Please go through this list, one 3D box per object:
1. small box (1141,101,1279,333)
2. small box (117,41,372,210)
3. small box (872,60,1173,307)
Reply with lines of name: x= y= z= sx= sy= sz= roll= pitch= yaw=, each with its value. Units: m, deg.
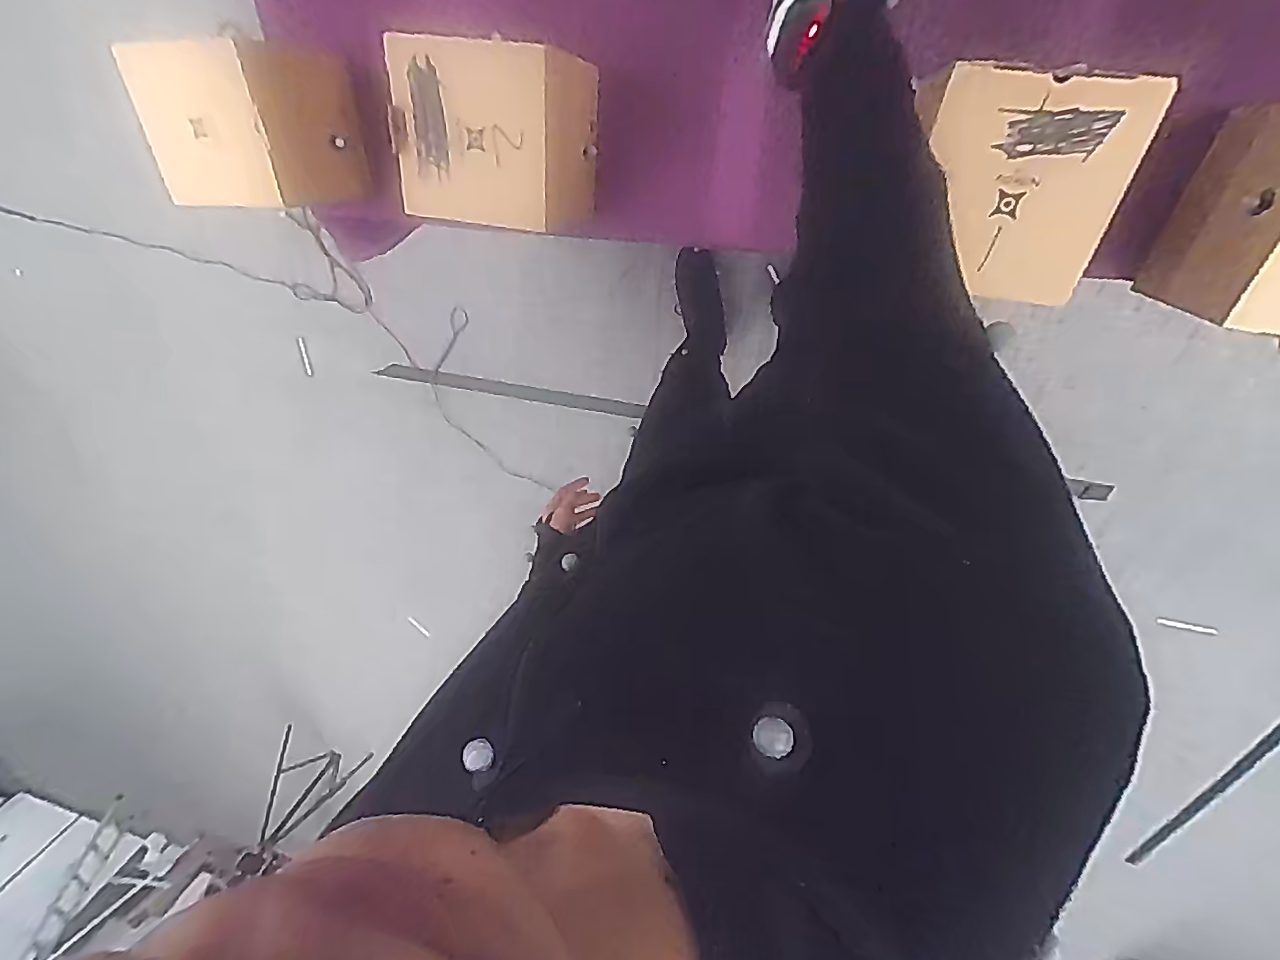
small box: x=0.617 y=-0.232 z=0.484 sx=0.168 sy=0.176 sz=0.179 roll=13 pitch=123 yaw=10
small box: x=-0.492 y=-0.448 z=0.701 sx=0.179 sy=0.176 sz=0.168 roll=6 pitch=122 yaw=12
small box: x=0.343 y=-0.291 z=0.536 sx=0.168 sy=0.176 sz=0.179 roll=13 pitch=124 yaw=10
